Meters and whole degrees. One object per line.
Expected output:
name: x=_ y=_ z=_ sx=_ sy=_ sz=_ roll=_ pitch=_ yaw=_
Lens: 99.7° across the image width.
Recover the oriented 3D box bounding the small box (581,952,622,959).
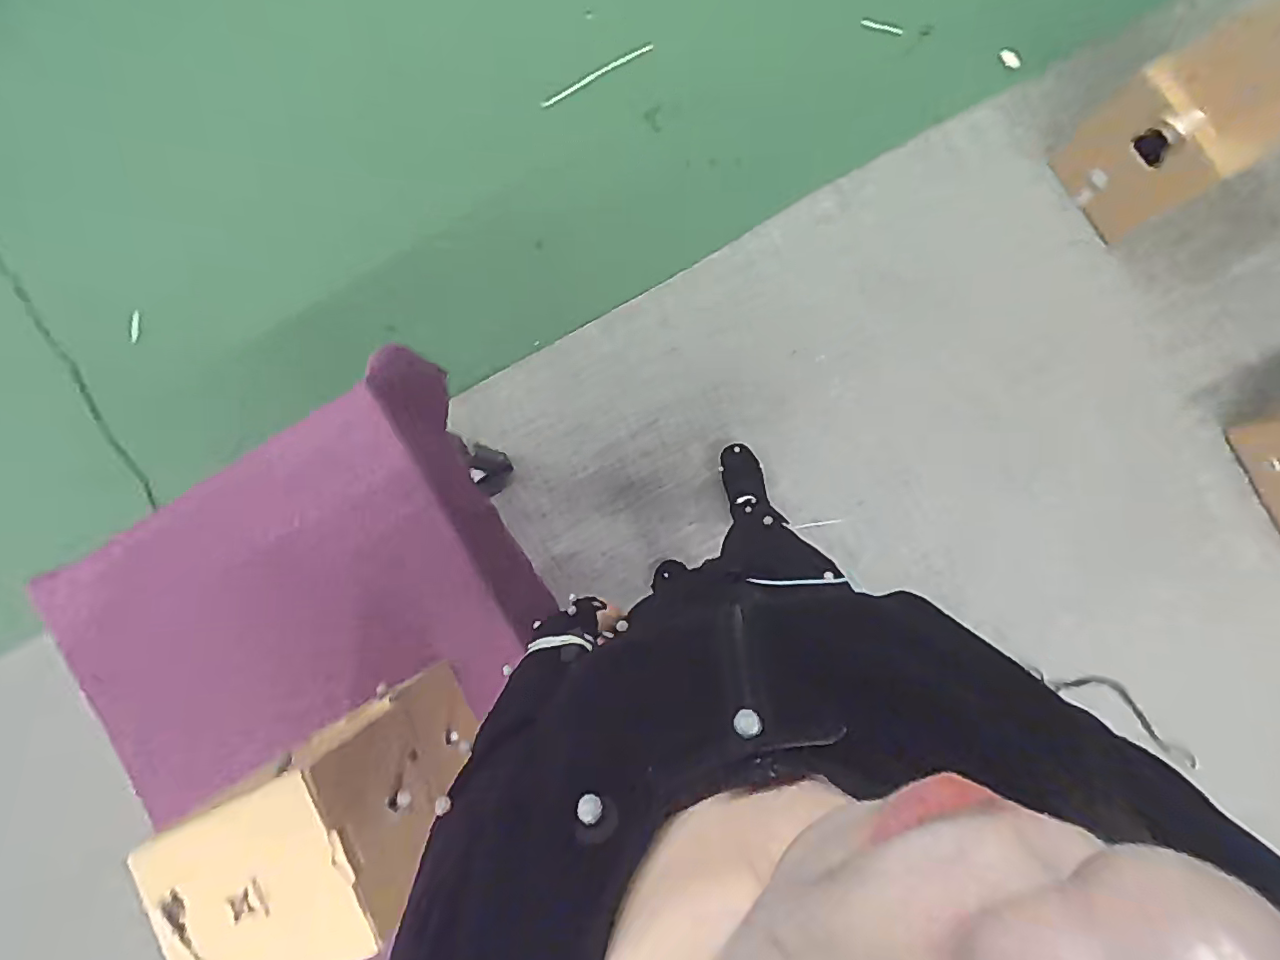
small box: x=-0.070 y=0.740 z=0.662 sx=0.168 sy=0.176 sz=0.179 roll=-31 pitch=86 yaw=1

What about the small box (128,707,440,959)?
small box: x=-0.324 y=0.357 z=0.536 sx=0.179 sy=0.176 sz=0.168 roll=-27 pitch=86 yaw=0

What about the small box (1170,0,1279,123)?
small box: x=1.295 y=-0.893 z=1.130 sx=0.168 sy=0.176 sz=0.179 roll=-32 pitch=84 yaw=-1

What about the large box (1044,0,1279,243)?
large box: x=1.375 y=-0.895 z=1.372 sx=0.408 sy=0.320 sz=0.320 roll=-31 pitch=85 yaw=-1
